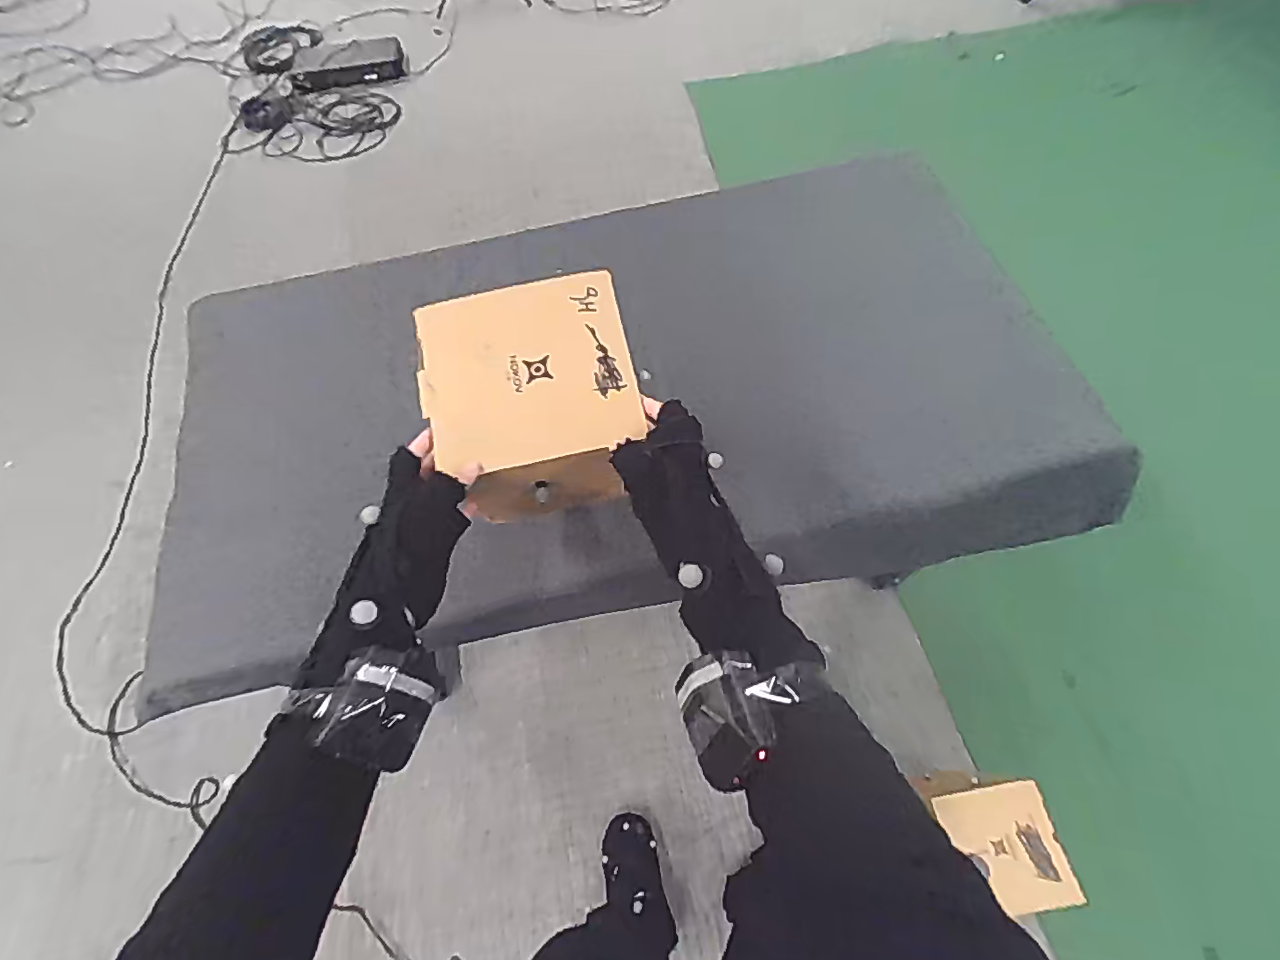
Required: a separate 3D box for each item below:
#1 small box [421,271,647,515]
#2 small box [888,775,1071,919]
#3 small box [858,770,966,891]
[{"bbox_3d":[-0.093,-0.072,0.538,0.179,0.176,0.168,-12,74,-2],"label":"small box"},{"bbox_3d":[0.556,0.607,0.915,0.179,0.176,0.168,-9,64,-1],"label":"small box"},{"bbox_3d":[0.559,0.678,1.063,0.179,0.176,0.168,-10,64,0],"label":"small box"}]
